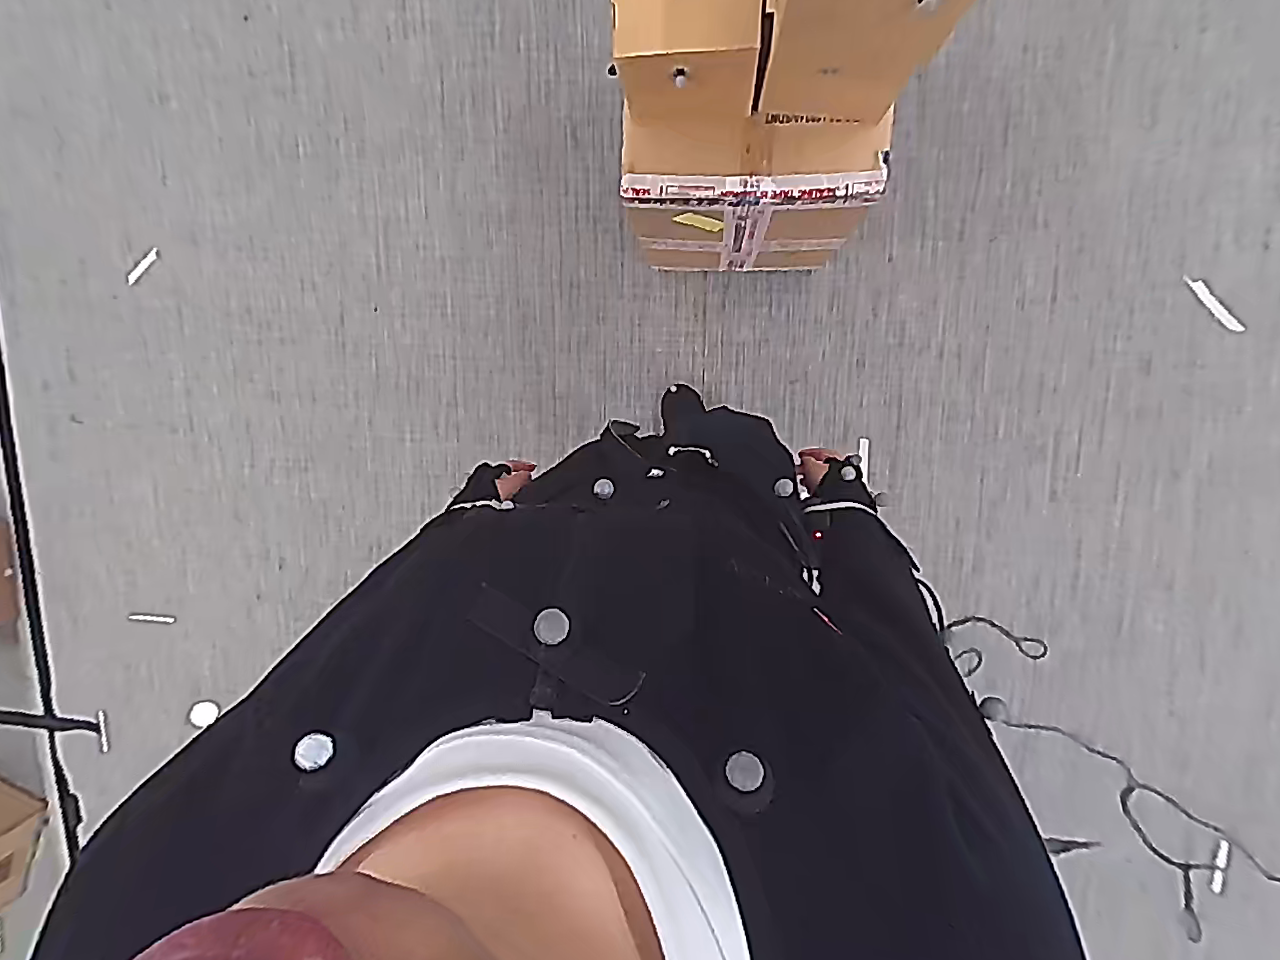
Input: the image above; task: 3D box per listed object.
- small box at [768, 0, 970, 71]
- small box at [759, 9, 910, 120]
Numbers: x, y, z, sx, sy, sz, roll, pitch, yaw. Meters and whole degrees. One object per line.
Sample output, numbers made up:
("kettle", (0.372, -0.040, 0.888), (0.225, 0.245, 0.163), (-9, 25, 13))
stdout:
("small box", (0.228, -0.527, 0.515), (0.179, 0.176, 0.168), (5, 100, 5))
("small box", (0.251, -0.578, 0.672), (0.179, 0.176, 0.168), (8, 101, 4))
